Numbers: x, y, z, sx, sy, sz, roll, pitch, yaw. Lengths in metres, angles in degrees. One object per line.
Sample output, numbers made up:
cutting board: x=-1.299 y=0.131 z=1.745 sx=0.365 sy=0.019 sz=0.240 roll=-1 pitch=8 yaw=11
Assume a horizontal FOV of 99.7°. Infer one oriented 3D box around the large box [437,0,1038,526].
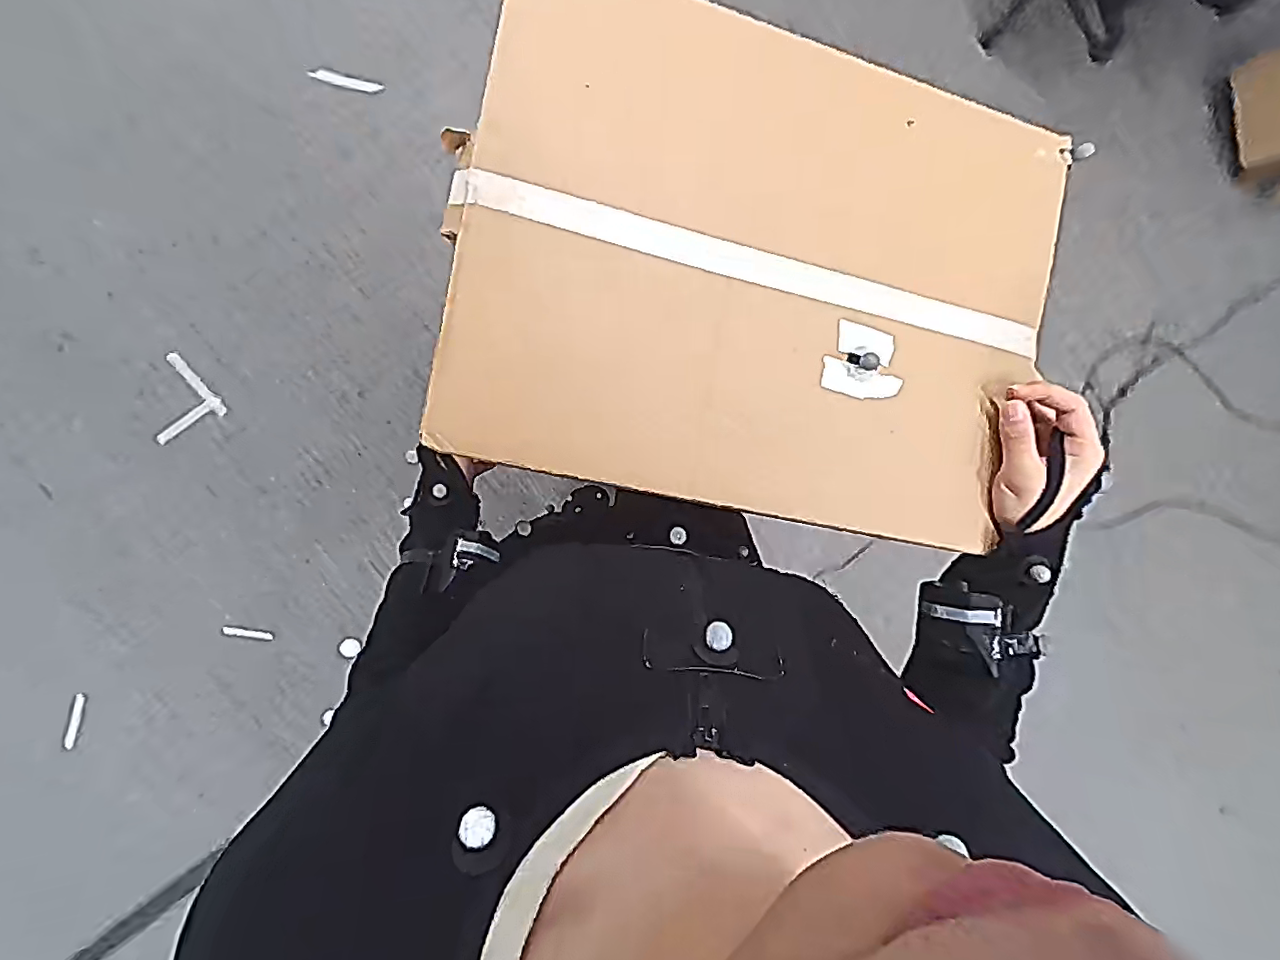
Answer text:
large box: x=0.056 y=-0.147 z=0.511 sx=0.408 sy=0.320 sz=0.320 roll=9 pitch=90 yaw=-12
